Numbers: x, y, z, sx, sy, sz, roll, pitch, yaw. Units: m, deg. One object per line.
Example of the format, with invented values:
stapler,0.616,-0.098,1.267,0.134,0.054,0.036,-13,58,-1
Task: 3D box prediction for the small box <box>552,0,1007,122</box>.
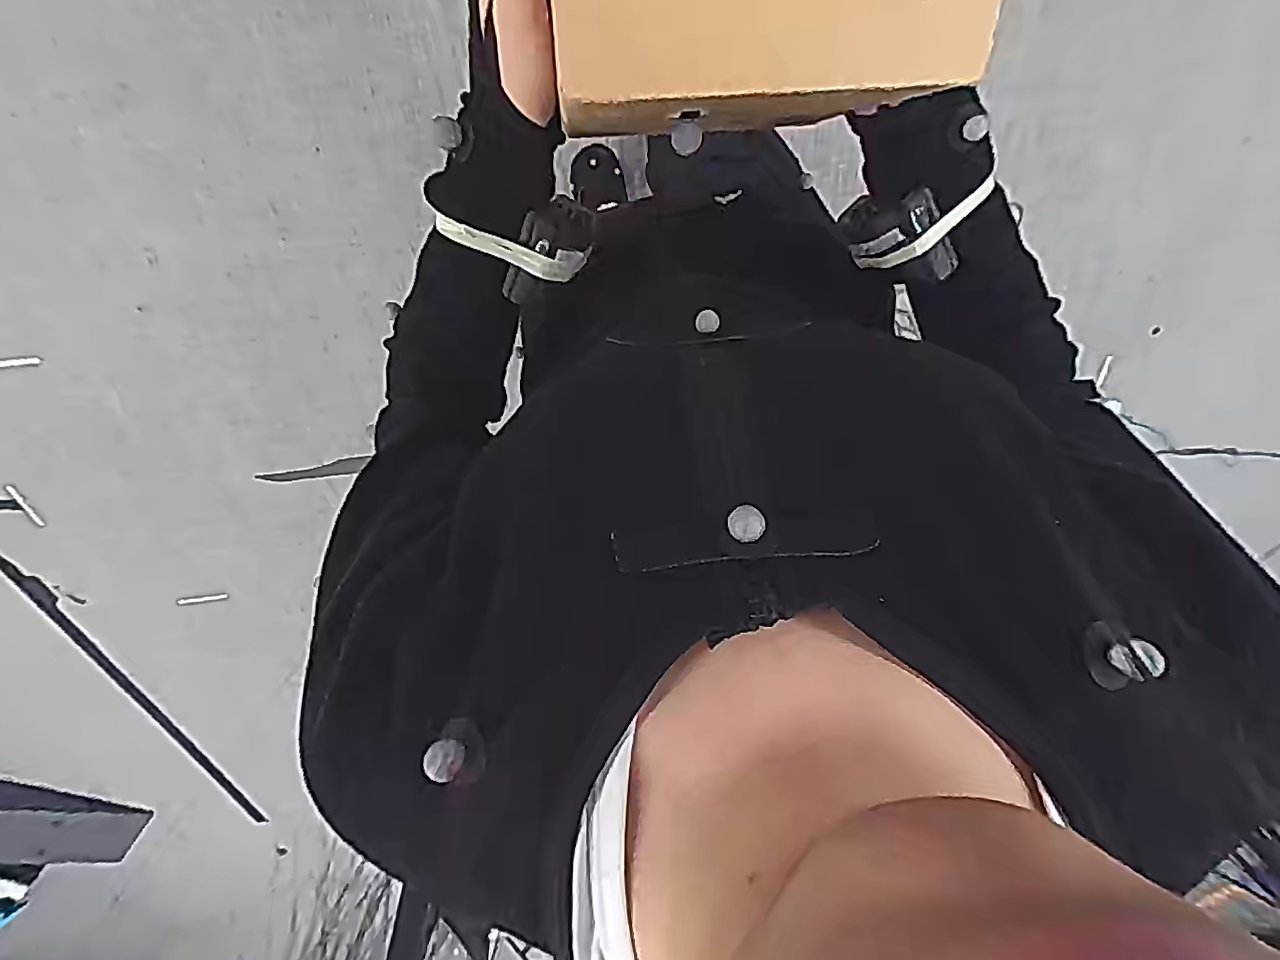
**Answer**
small box,0.042,-0.263,0.230,0.168,0.176,0.179,-6,118,-4
